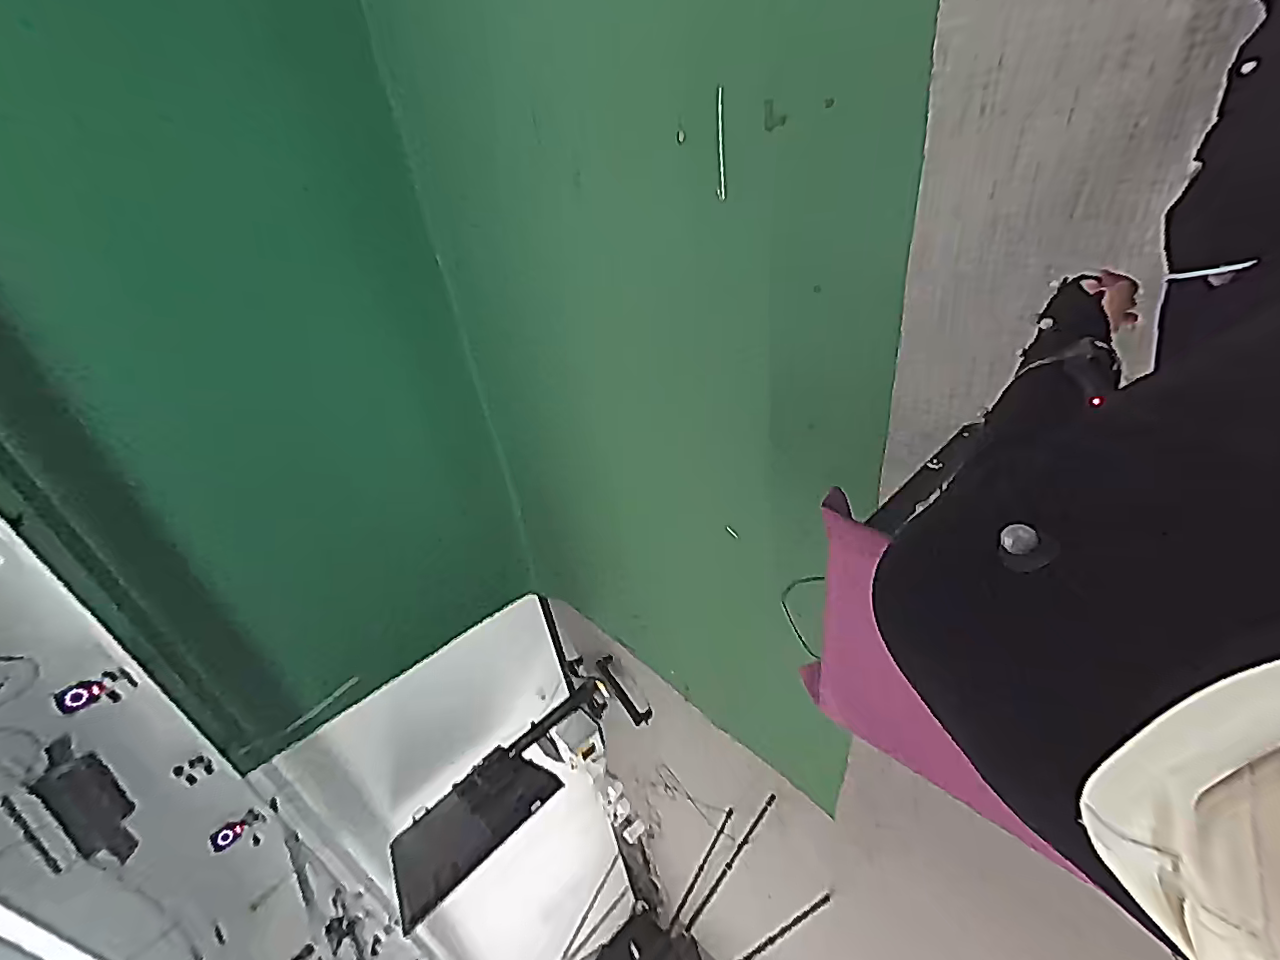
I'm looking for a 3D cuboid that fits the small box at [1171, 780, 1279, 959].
[{"bbox_3d":[0.895,0.572,0.761,0.168,0.176,0.179,20,132,45],"label":"small box"}]
